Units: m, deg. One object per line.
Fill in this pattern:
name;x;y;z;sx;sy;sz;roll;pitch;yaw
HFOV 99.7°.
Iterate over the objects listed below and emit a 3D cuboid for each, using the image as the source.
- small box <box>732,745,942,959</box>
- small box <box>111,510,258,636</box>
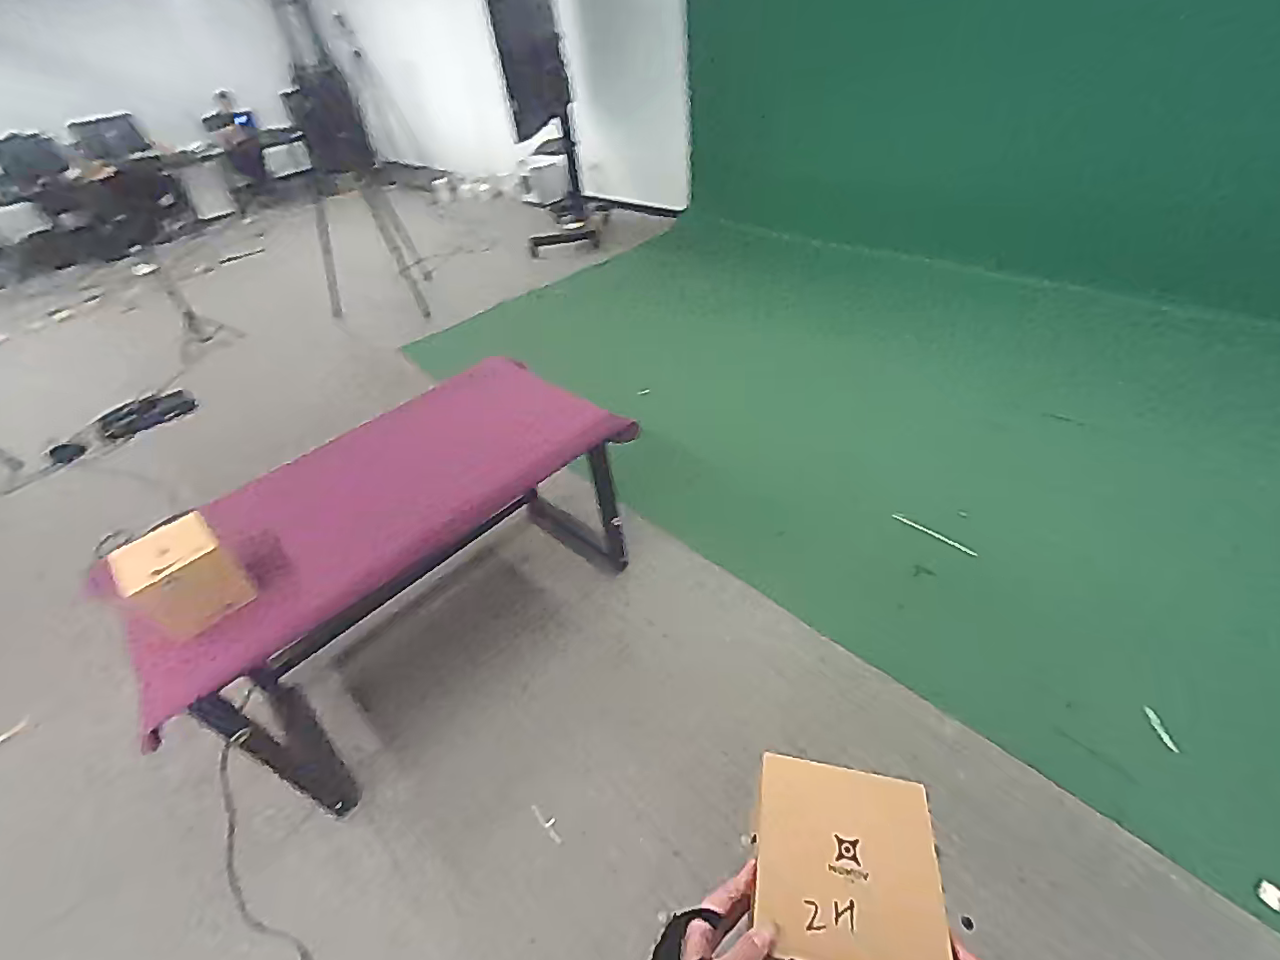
small box;0.187;0.413;0.560;0.168;0.176;0.179;5;40;11
small box;-0.977;0.202;1.169;0.179;0.176;0.168;29;53;34
